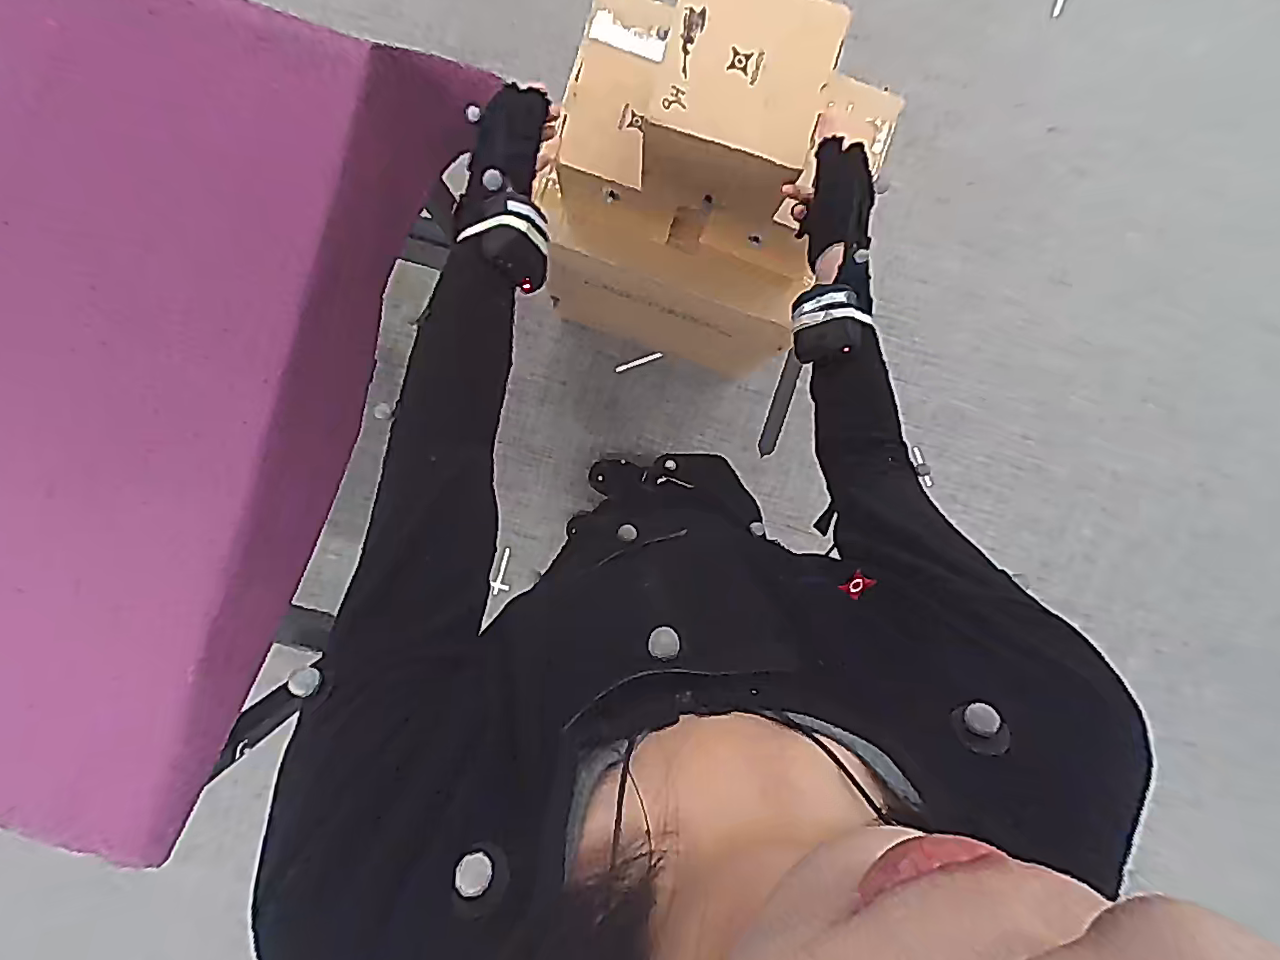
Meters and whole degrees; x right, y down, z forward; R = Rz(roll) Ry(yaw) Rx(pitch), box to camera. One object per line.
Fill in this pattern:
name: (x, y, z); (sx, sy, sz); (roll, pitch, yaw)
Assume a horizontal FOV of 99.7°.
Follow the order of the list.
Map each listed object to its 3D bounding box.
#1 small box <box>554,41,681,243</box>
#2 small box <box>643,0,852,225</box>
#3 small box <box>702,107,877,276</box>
small box: (-0.011, -0.473, 0.787); (0.179, 0.176, 0.168); (17, 93, -4)
small box: (0.109, -0.425, 0.630); (0.179, 0.176, 0.168); (17, 93, -2)
small box: (0.206, -0.423, 0.796); (0.179, 0.176, 0.168); (21, 93, -1)
